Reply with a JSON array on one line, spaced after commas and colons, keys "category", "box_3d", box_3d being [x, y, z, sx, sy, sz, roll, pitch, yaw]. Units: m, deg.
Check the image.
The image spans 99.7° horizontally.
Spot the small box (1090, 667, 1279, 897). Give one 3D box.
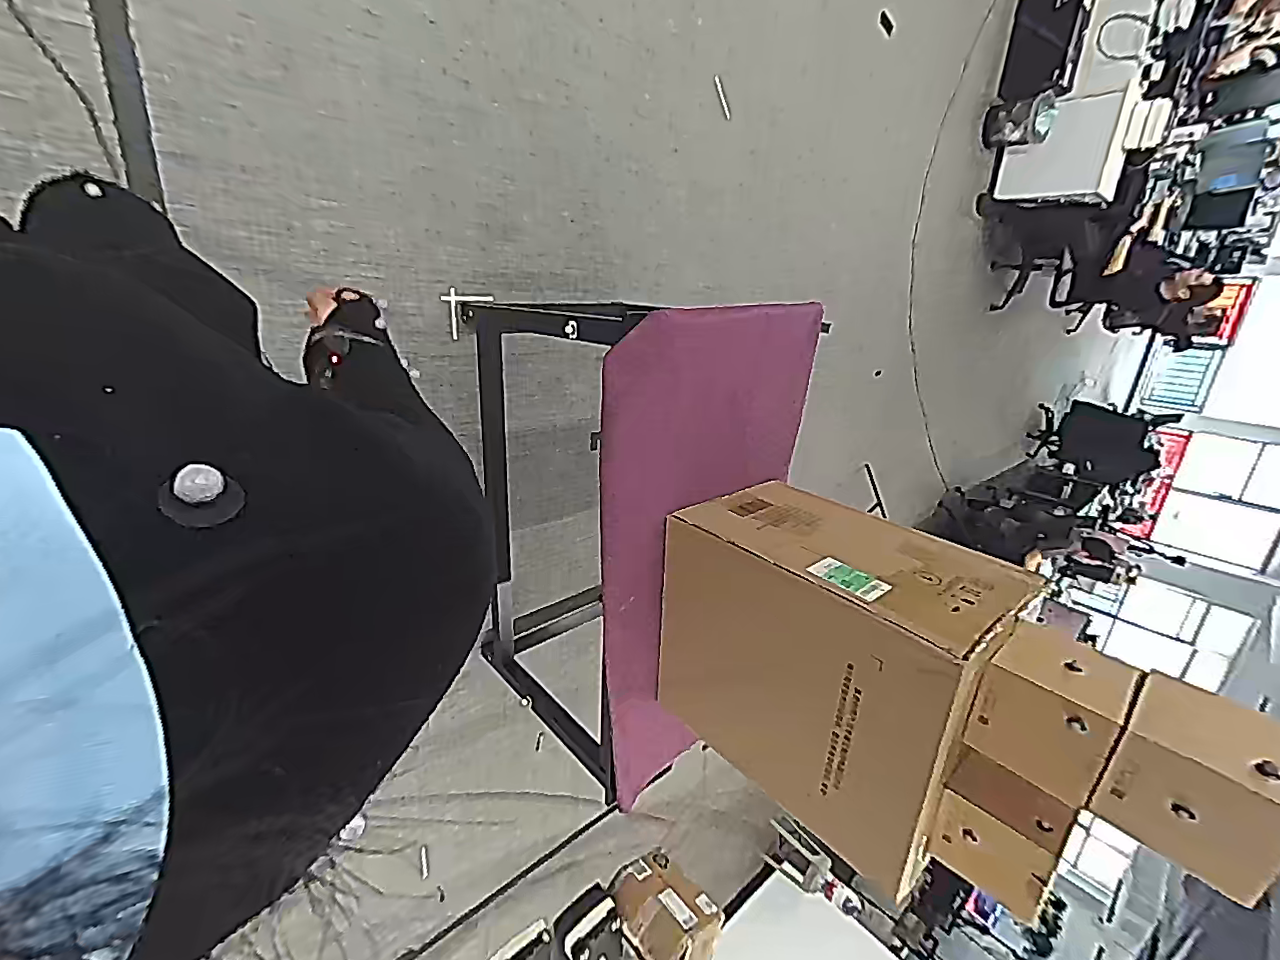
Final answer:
[{"category": "small box", "box_3d": [0.756, 0.397, 0.741, 0.179, 0.176, 0.168, -20, 121, -37]}]

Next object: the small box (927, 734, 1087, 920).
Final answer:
[{"category": "small box", "box_3d": [0.636, 0.589, 0.946, 0.179, 0.176, 0.168, -18, 117, -37]}]
